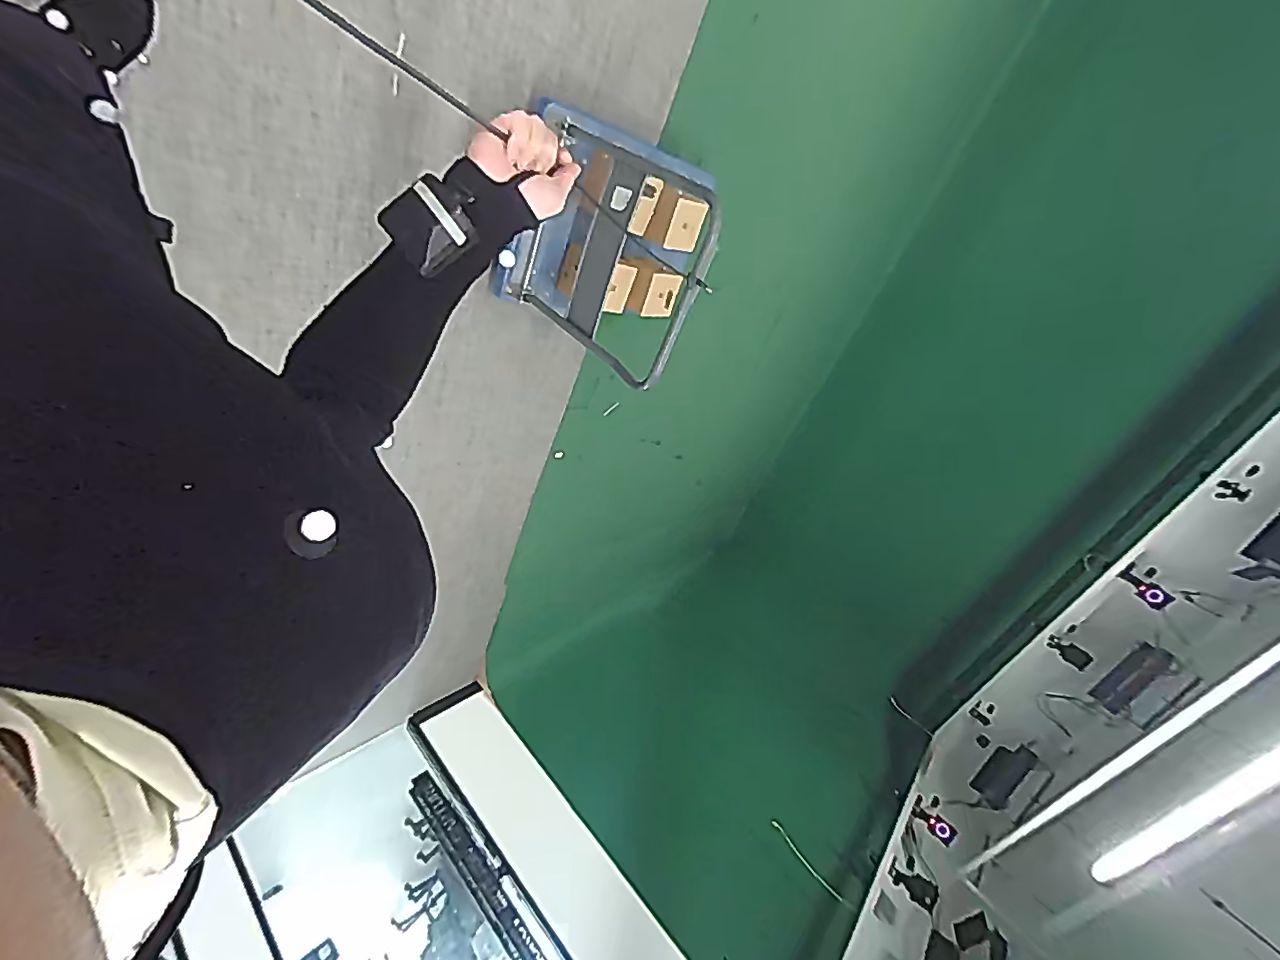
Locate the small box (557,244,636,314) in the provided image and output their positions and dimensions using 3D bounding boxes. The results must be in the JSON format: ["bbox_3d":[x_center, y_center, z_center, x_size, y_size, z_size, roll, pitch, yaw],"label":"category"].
[{"bbox_3d":[-0.151,-0.689,1.857,0.179,0.176,0.168,-12,135,-49],"label":"small box"}]

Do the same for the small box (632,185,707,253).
[{"bbox_3d":[0.100,-0.931,1.927,0.179,0.176,0.168,-18,140,-46],"label":"small box"}]

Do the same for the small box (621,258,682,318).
[{"bbox_3d":[0.022,-0.732,2.060,0.179,0.176,0.168,-17,138,-45],"label":"small box"}]
